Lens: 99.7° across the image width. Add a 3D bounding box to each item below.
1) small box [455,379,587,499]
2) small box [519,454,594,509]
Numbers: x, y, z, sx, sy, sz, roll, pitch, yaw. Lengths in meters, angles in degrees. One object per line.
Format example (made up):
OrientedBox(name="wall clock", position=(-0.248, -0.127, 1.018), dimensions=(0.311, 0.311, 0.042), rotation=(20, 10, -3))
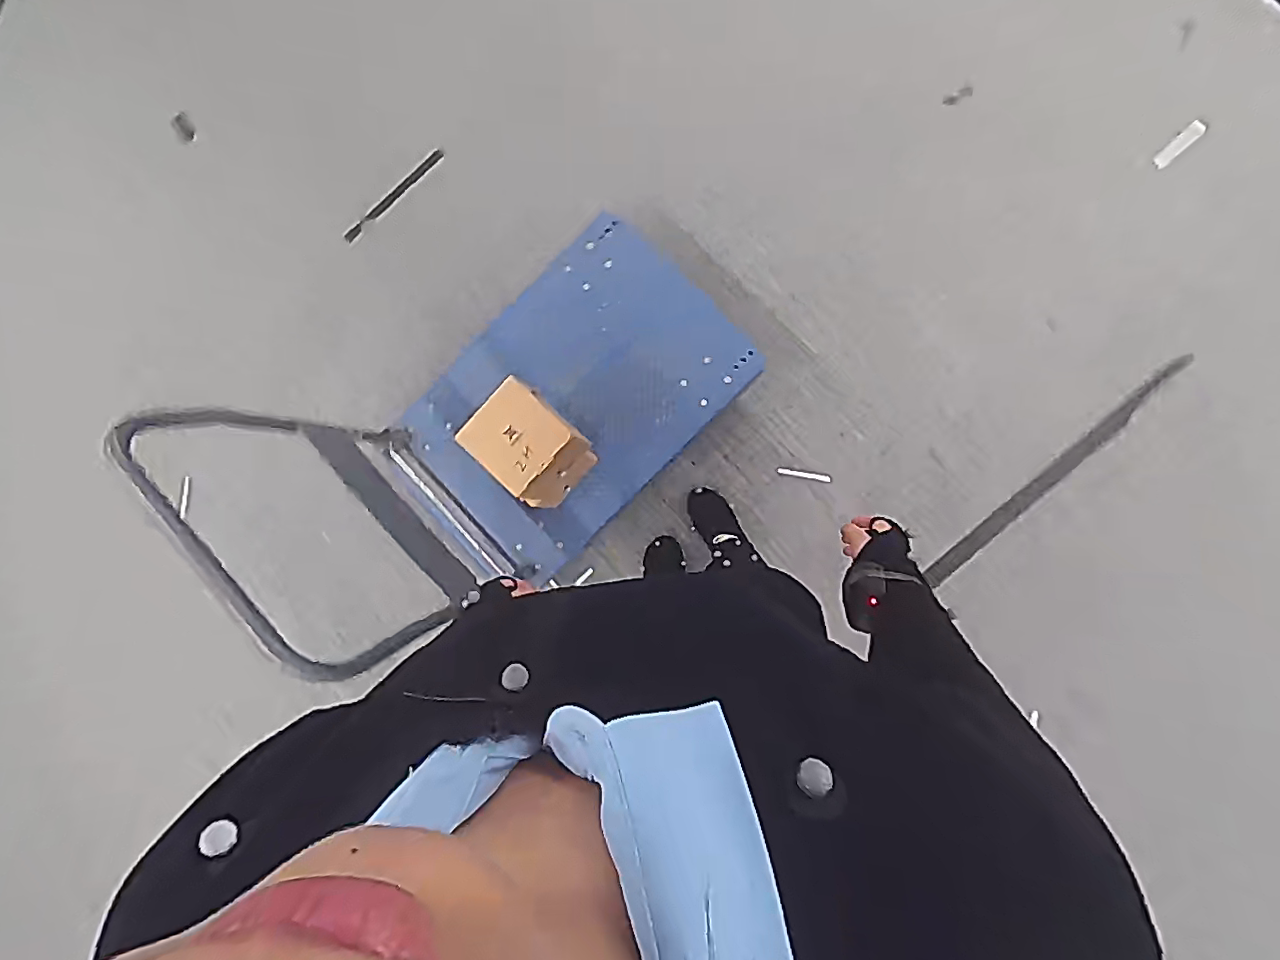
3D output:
OrientedBox(name="small box", position=(-0.233, -0.073, 1.105), dimensions=(0.179, 0.176, 0.168), rotation=(43, 92, 6))
OrientedBox(name="small box", position=(-0.234, -0.045, 1.269), dimensions=(0.179, 0.176, 0.168), rotation=(42, 92, 6))
